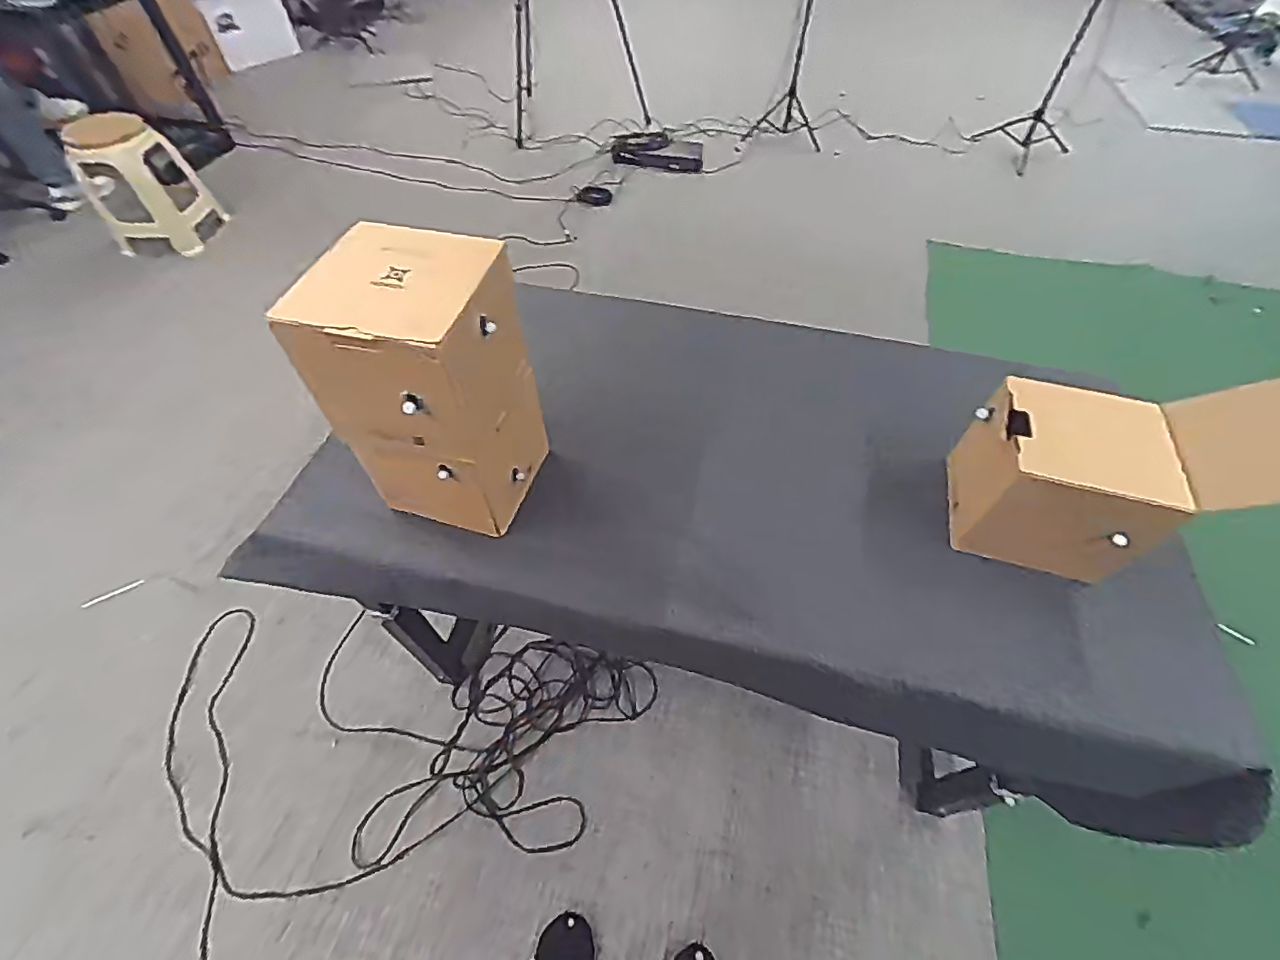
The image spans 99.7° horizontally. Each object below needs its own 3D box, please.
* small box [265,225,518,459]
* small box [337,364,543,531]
[{"bbox_3d":[-0.241,-0.145,0.585,0.168,0.176,0.179,10,52,5],"label":"small box"},{"bbox_3d":[-0.247,-0.053,0.719,0.179,0.176,0.168,13,54,9],"label":"small box"}]
